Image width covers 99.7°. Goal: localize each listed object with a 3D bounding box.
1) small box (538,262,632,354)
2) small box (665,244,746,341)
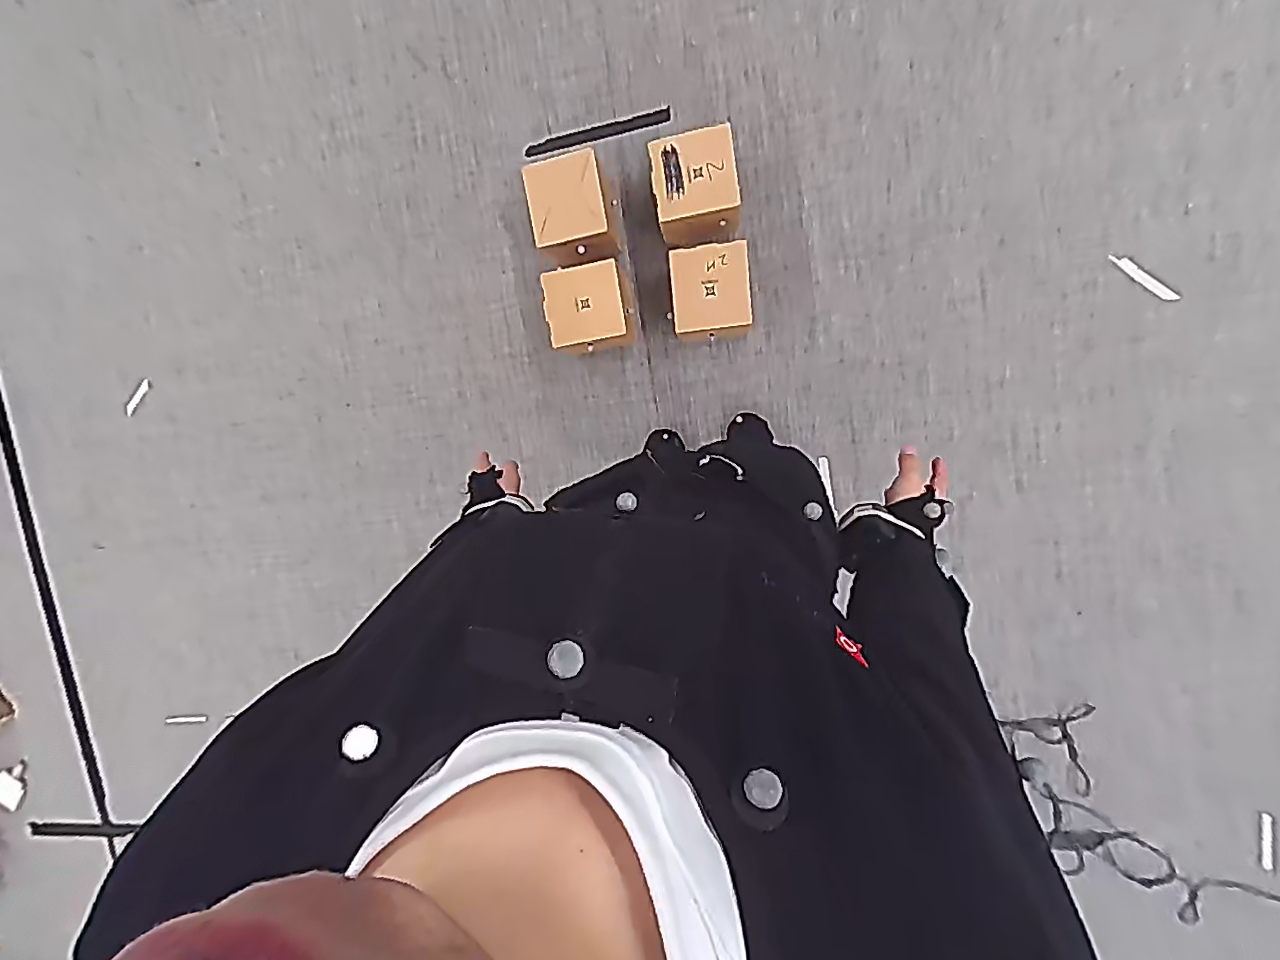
[{"bbox_3d":[-0.121,-0.398,1.278,0.179,0.176,0.168,-8,96,10],"label":"small box"},{"bbox_3d":[0.152,-0.417,1.232,0.168,0.176,0.179,-4,97,8],"label":"small box"}]
